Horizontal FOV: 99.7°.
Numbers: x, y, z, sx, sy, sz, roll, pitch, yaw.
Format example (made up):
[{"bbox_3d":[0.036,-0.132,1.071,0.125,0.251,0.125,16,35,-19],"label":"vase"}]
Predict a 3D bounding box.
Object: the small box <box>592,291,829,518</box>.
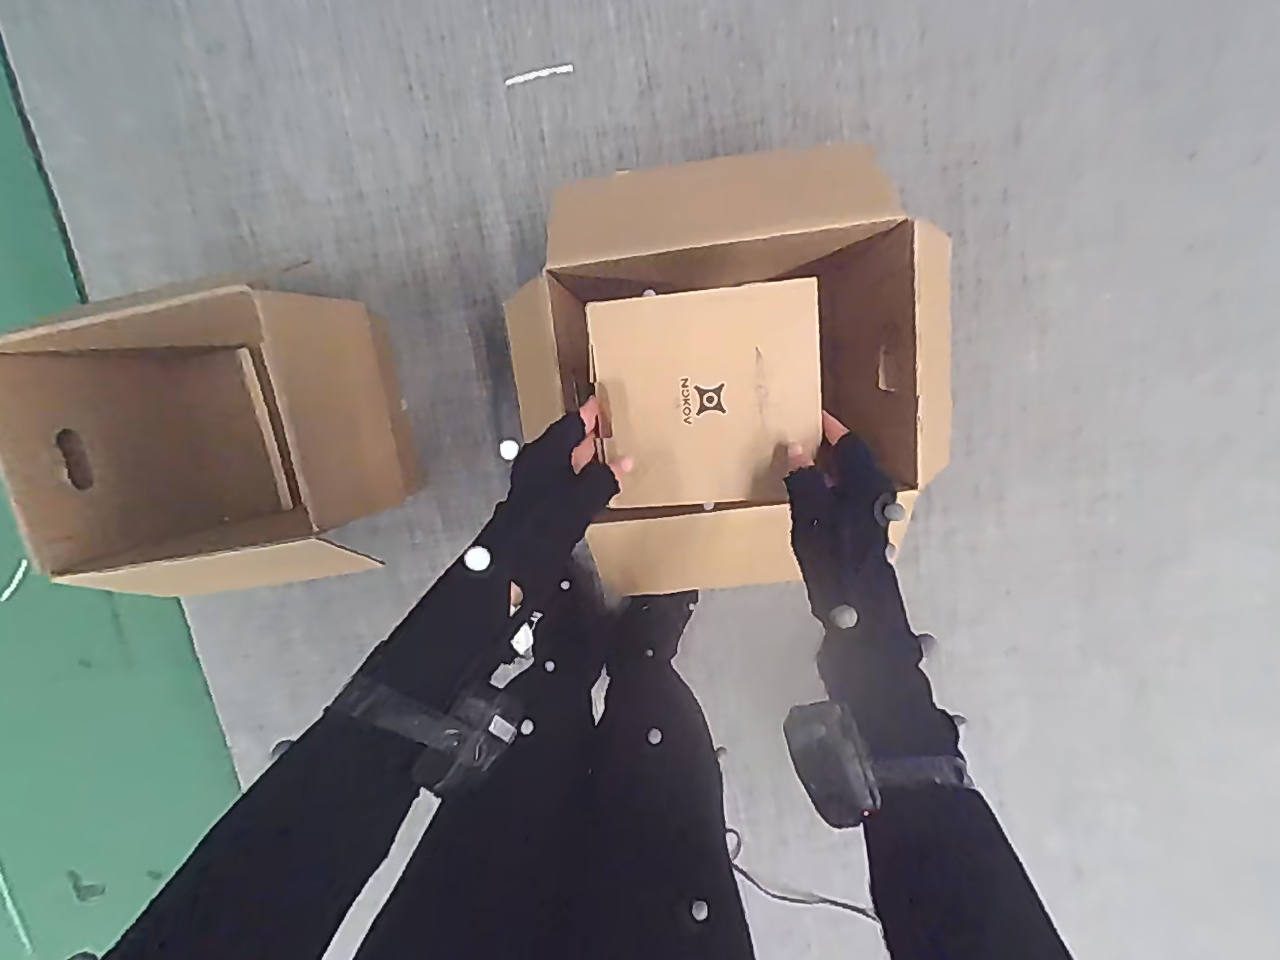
[{"bbox_3d":[0.064,-0.069,0.503,0.179,0.176,0.168,-6,101,7],"label":"small box"}]
